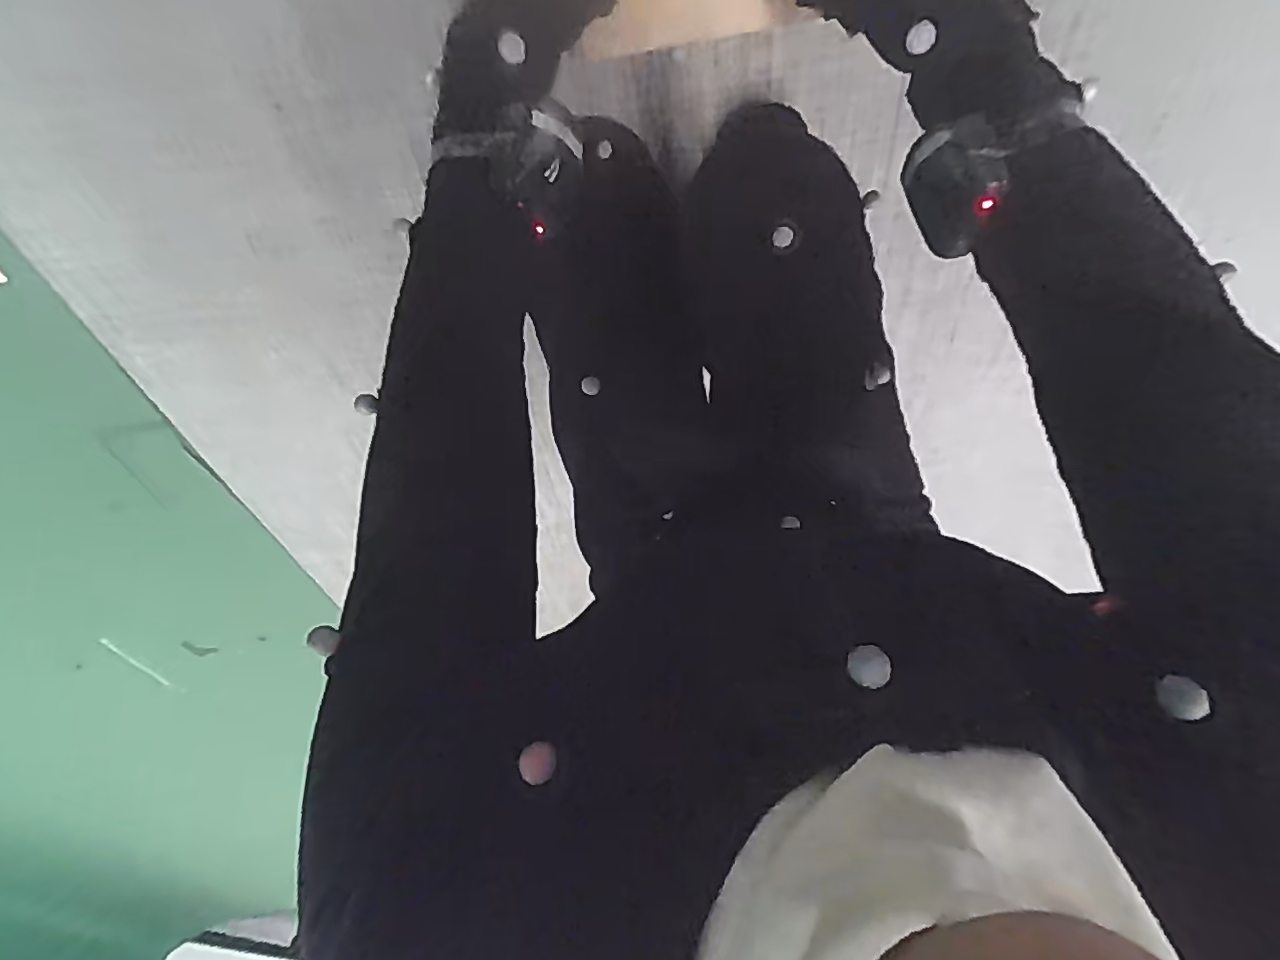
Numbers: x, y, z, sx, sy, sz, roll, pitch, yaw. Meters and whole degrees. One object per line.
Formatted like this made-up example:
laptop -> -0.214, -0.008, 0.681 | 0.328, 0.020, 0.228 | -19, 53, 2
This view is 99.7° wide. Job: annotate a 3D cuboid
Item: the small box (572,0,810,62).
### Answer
small box -> 0.029, -0.445, 0.421 | 0.179, 0.176, 0.168 | -7, 132, 4
